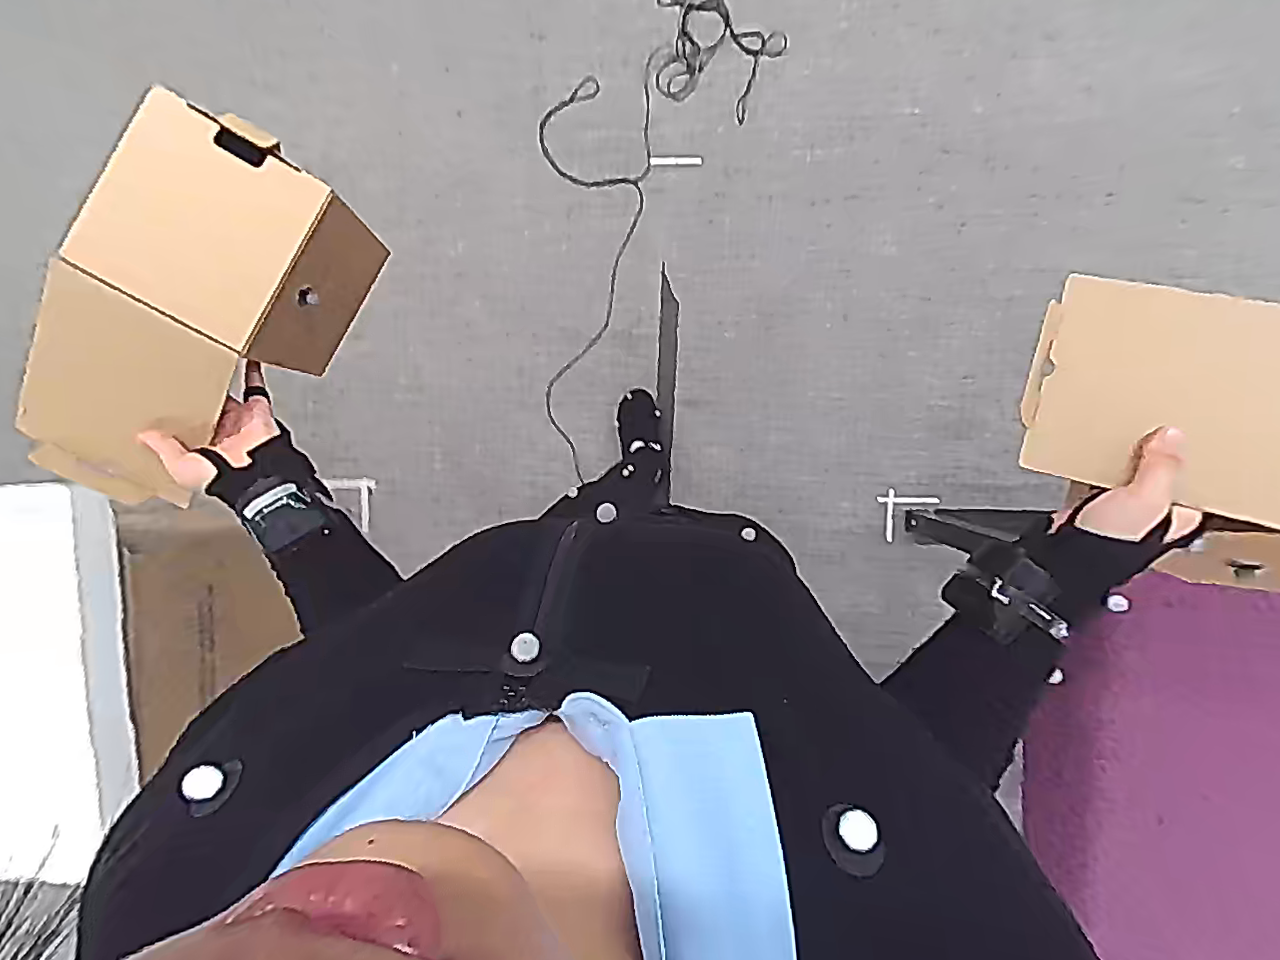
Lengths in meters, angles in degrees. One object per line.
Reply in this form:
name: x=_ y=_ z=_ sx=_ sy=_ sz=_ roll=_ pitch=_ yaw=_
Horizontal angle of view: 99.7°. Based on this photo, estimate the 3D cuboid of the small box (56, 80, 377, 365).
small box: x=-0.404 y=-0.238 z=0.556 sx=0.168 sy=0.176 sz=0.179 roll=29 pitch=89 yaw=-10
